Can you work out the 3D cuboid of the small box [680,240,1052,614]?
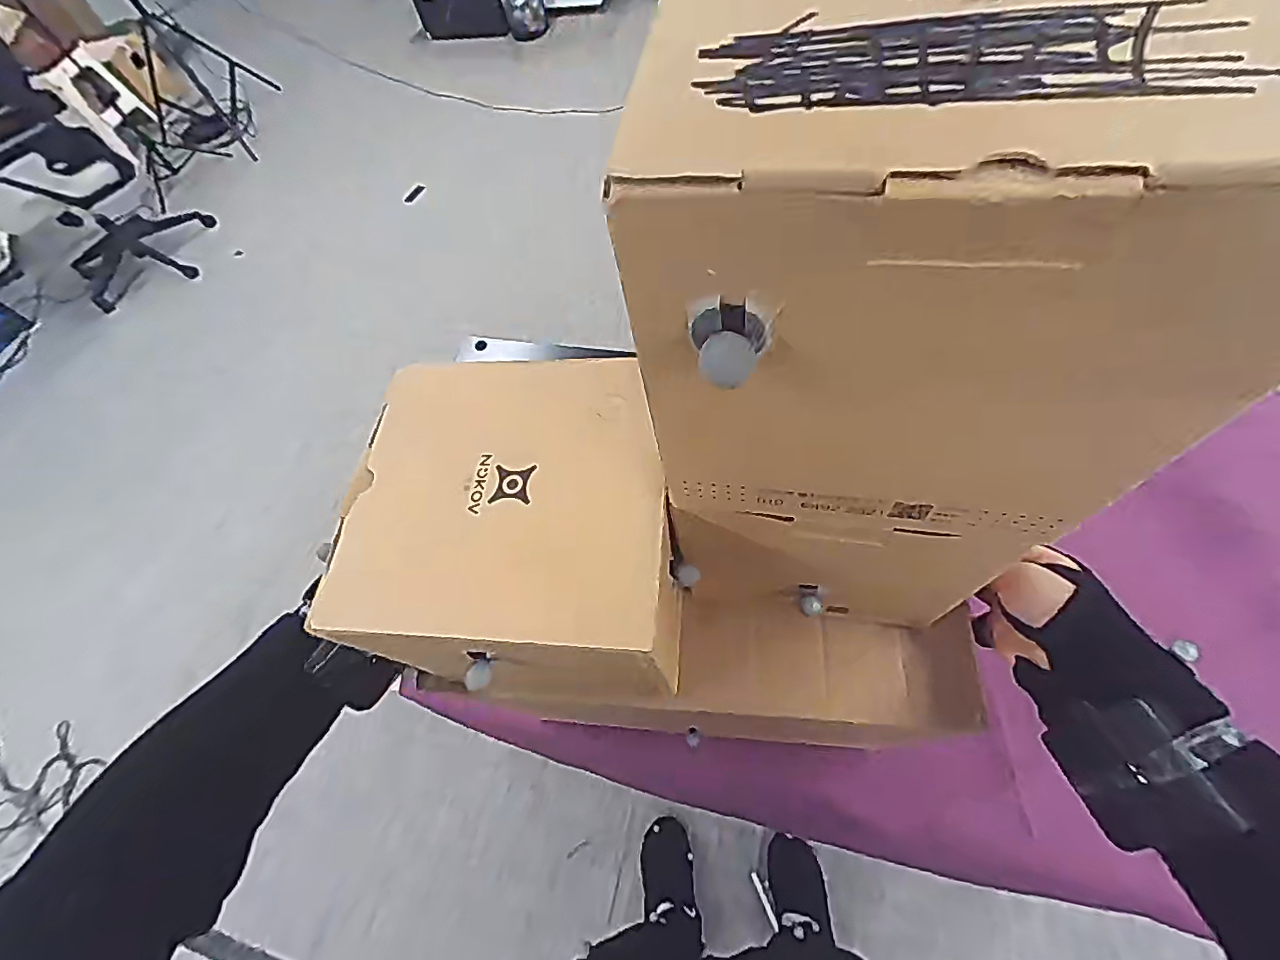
[{"bbox_3d":[0.125,-0.028,0.354,0.168,0.176,0.179,5,64,13],"label":"small box"}]

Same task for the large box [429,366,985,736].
[{"bbox_3d":[0.065,0.093,0.582,0.408,0.320,0.320,-1,61,10],"label":"large box"}]
